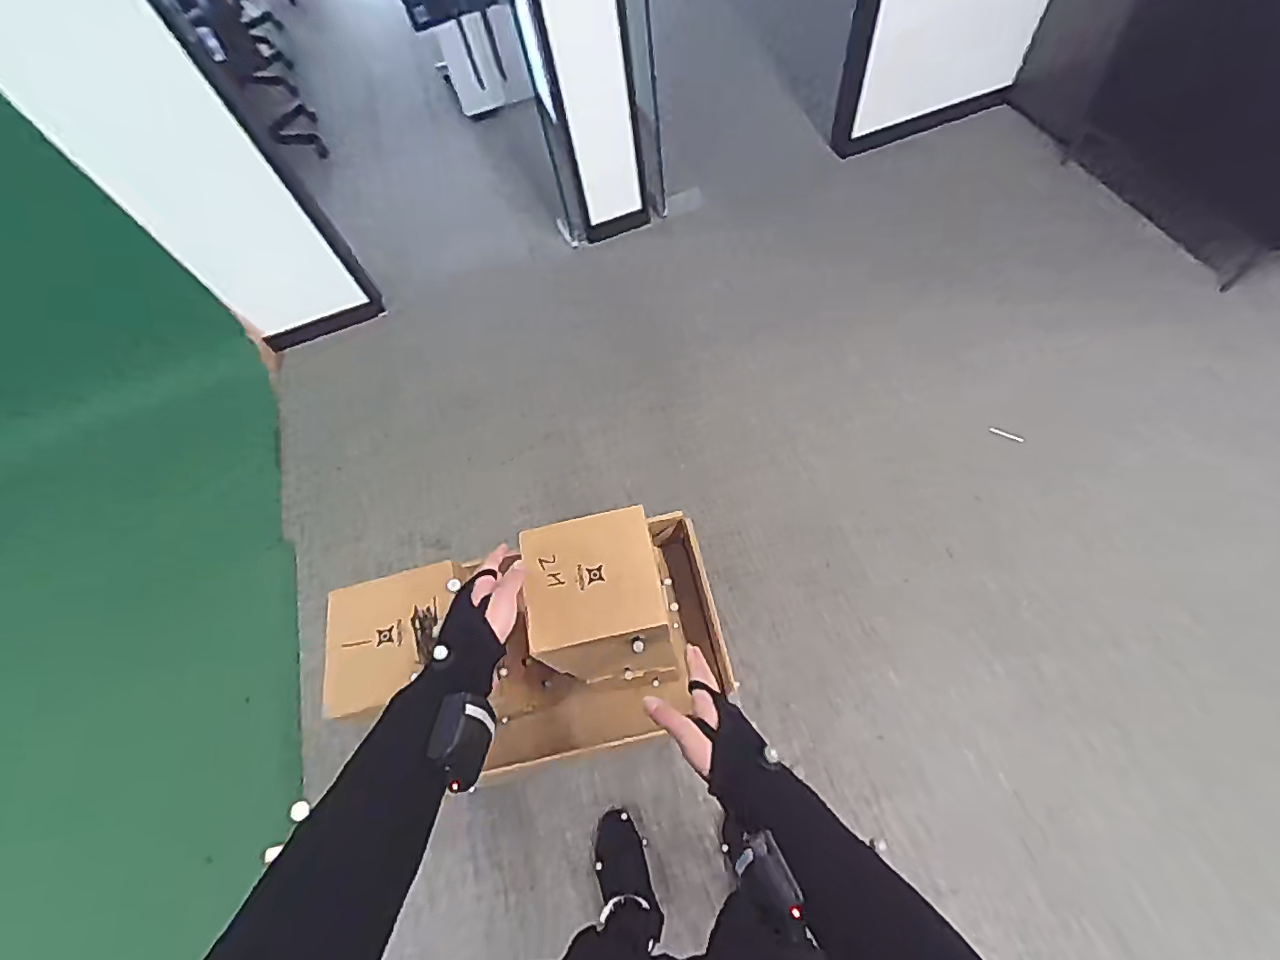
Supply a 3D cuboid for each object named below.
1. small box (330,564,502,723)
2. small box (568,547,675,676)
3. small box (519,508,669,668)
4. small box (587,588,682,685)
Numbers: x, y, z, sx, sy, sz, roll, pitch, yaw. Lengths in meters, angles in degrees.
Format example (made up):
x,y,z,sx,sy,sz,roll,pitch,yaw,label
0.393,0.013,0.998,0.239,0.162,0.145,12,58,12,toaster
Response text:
x,y,z,sx,sy,sz,roll,pitch,yaw,label
-0.307,0.240,0.774,0.179,0.176,0.168,-15,62,1,small box
-0.037,0.229,0.922,0.179,0.176,0.168,-10,63,2,small box
-0.058,0.161,0.773,0.179,0.176,0.168,-13,62,2,small box
-0.014,0.301,1.066,0.168,0.176,0.179,-10,63,3,small box
